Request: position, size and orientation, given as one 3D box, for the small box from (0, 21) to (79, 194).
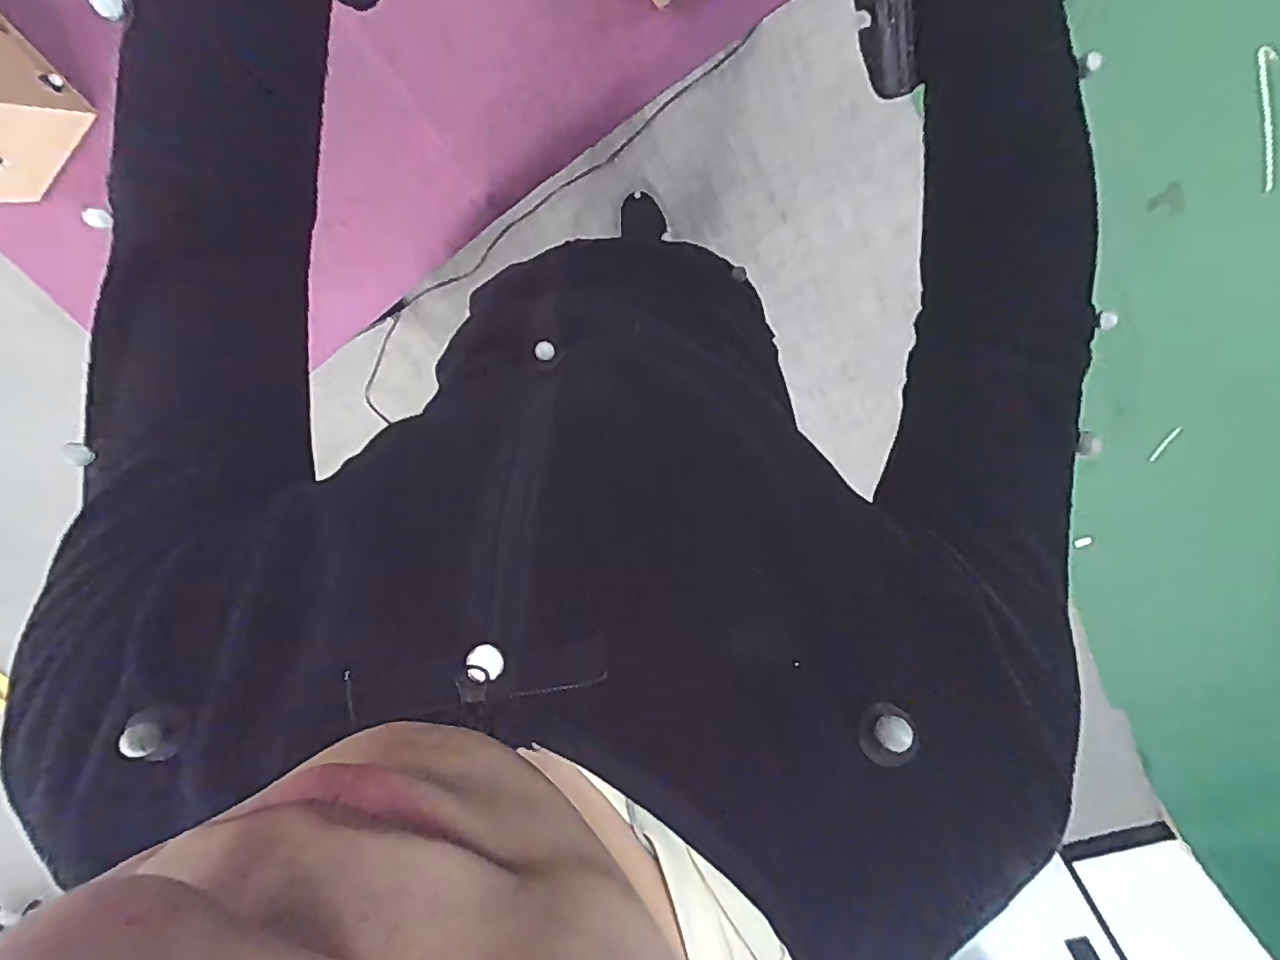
[{"bbox_3d":[-0.821,-0.454,0.618,0.179,0.176,0.168,-32,114,19],"label":"small box"}]
